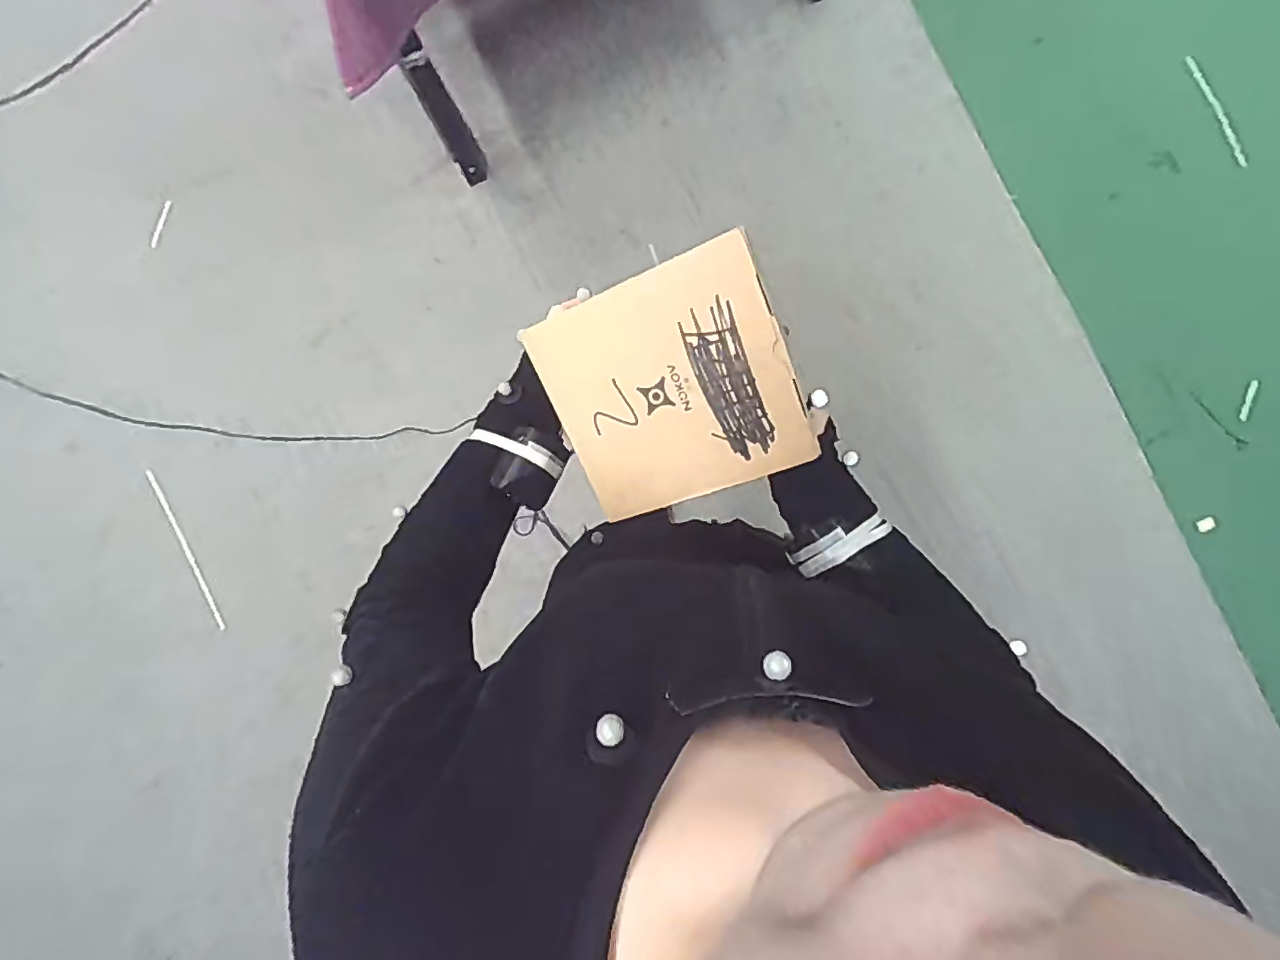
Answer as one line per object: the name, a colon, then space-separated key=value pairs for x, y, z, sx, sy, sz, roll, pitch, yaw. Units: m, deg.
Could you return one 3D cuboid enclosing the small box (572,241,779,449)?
small box: x=0.052 y=-0.155 z=0.616 sx=0.179 sy=0.176 sz=0.168 roll=-16 pitch=108 yaw=18
